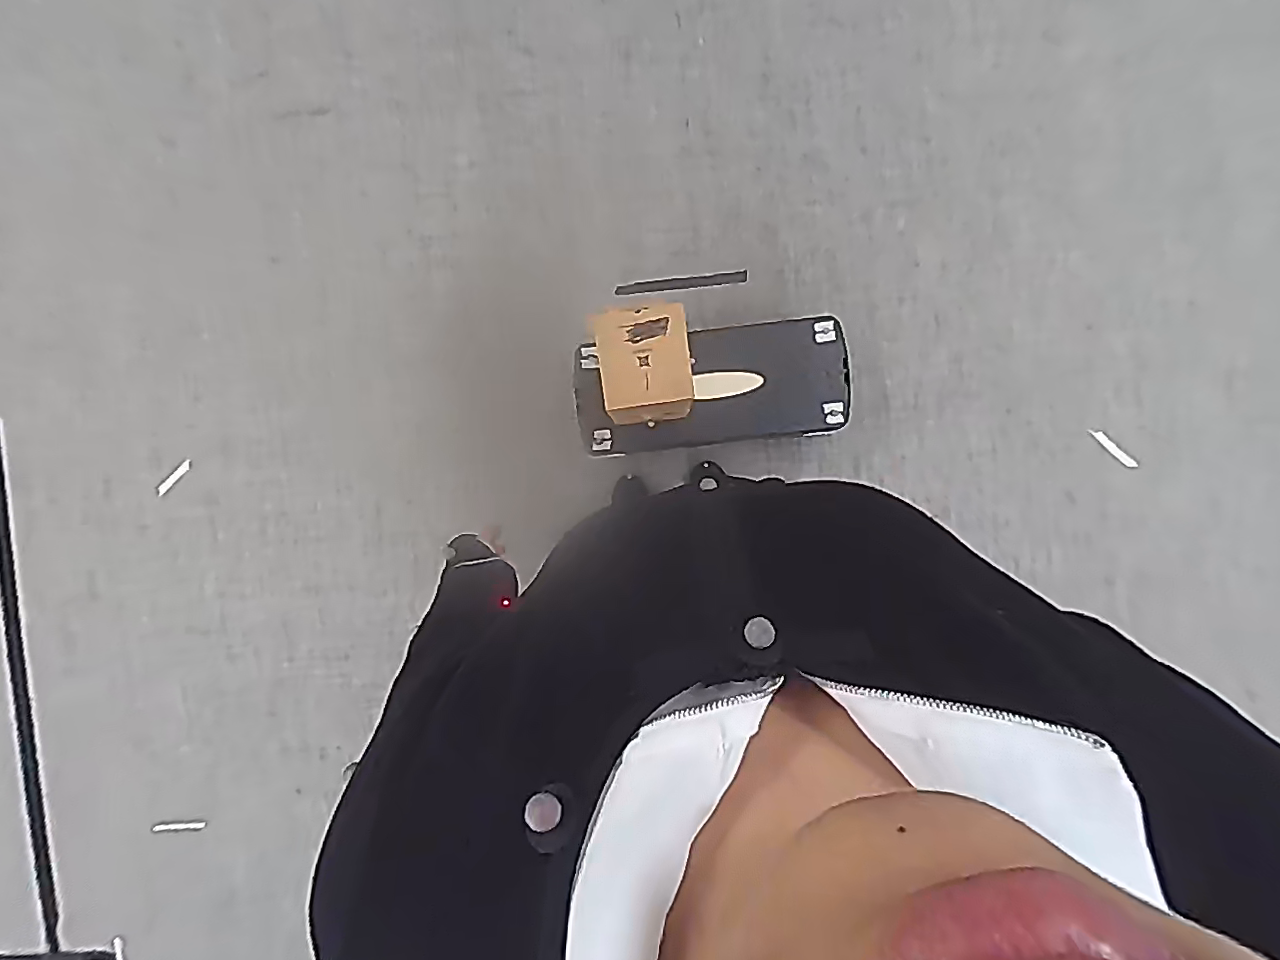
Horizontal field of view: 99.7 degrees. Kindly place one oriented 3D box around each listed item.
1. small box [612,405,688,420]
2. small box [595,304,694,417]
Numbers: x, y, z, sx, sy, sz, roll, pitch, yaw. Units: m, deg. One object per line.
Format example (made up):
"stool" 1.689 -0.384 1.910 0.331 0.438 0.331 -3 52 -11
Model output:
"small box" 0.014 -0.225 1.217 0.168 0.176 0.179 -6 92 2
"small box" 0.008 -0.224 1.053 0.168 0.176 0.179 -8 92 1
